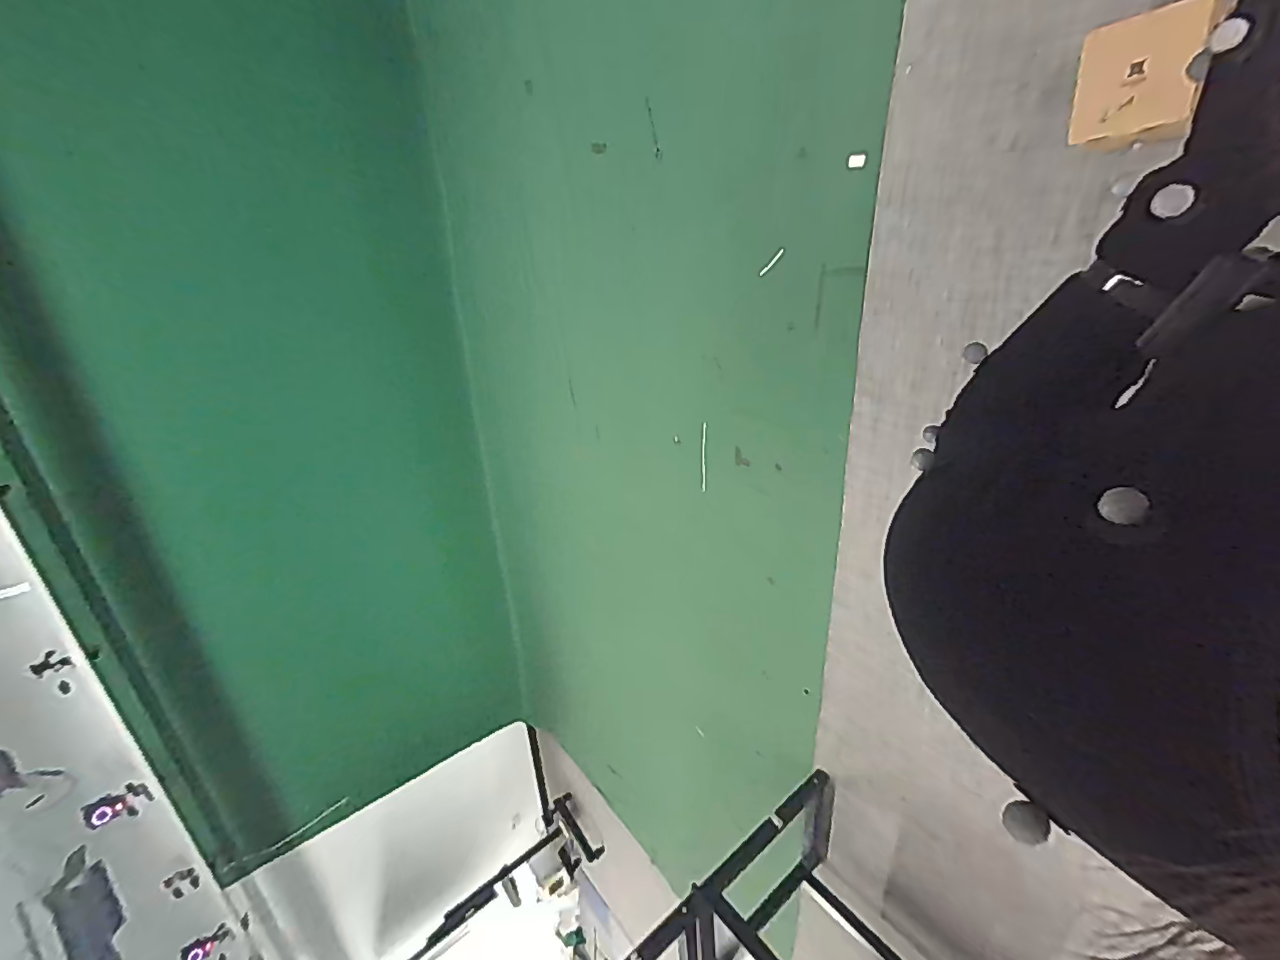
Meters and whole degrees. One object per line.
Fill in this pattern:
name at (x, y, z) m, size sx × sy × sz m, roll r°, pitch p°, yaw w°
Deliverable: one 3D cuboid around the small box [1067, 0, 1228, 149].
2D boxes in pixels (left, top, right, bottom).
small box at (0.896, -0.709, 0.957) m, size 0.168 × 0.176 × 0.179 m, roll 20°, pitch 121°, yaw 49°
